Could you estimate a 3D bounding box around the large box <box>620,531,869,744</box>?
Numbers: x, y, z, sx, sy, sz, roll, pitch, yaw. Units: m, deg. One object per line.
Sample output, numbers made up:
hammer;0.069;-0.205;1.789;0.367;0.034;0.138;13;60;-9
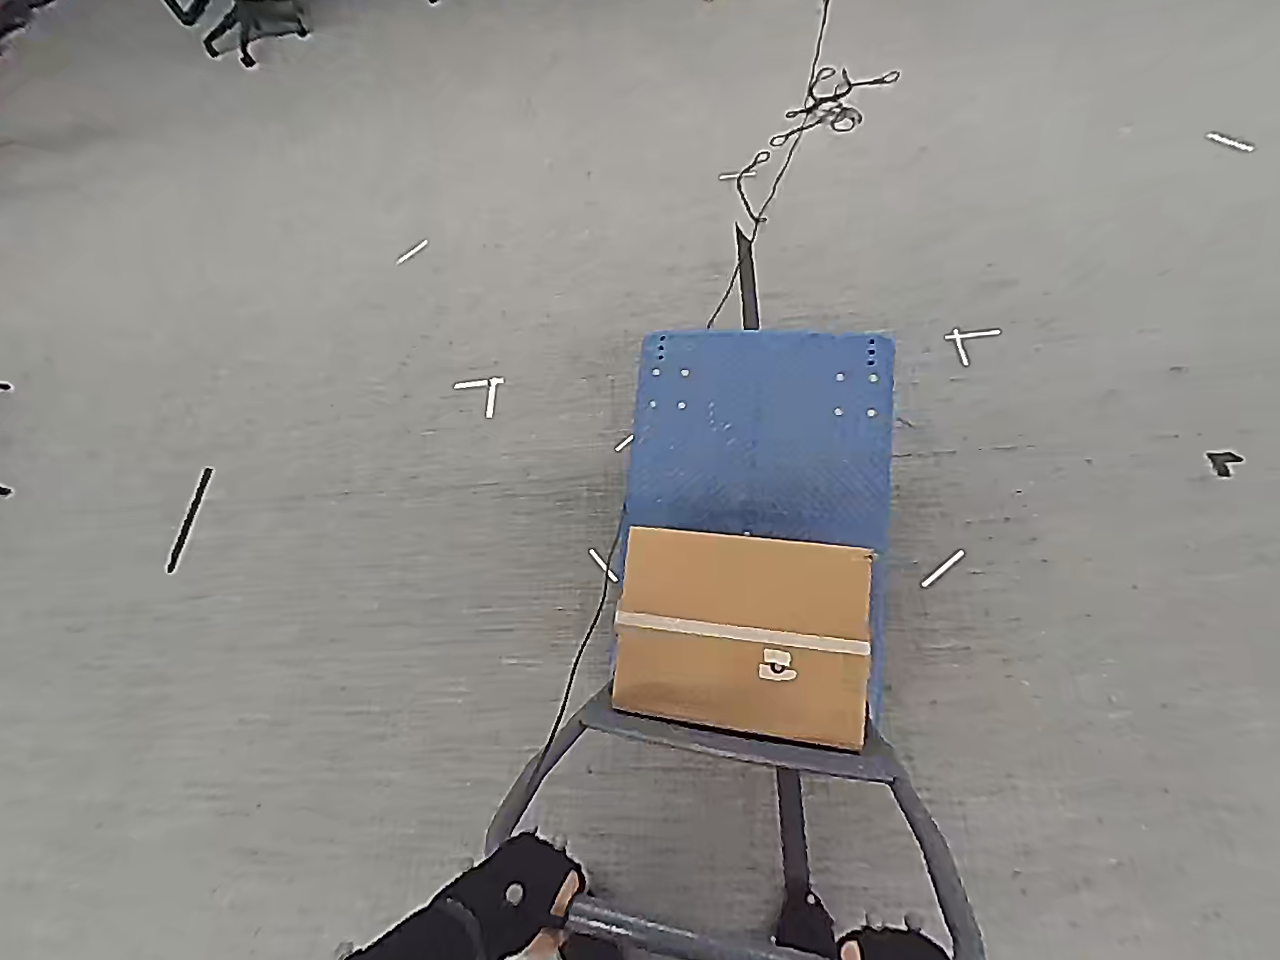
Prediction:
large box;0.197;0.277;1.052;0.408;0.320;0.320;4;83;12
